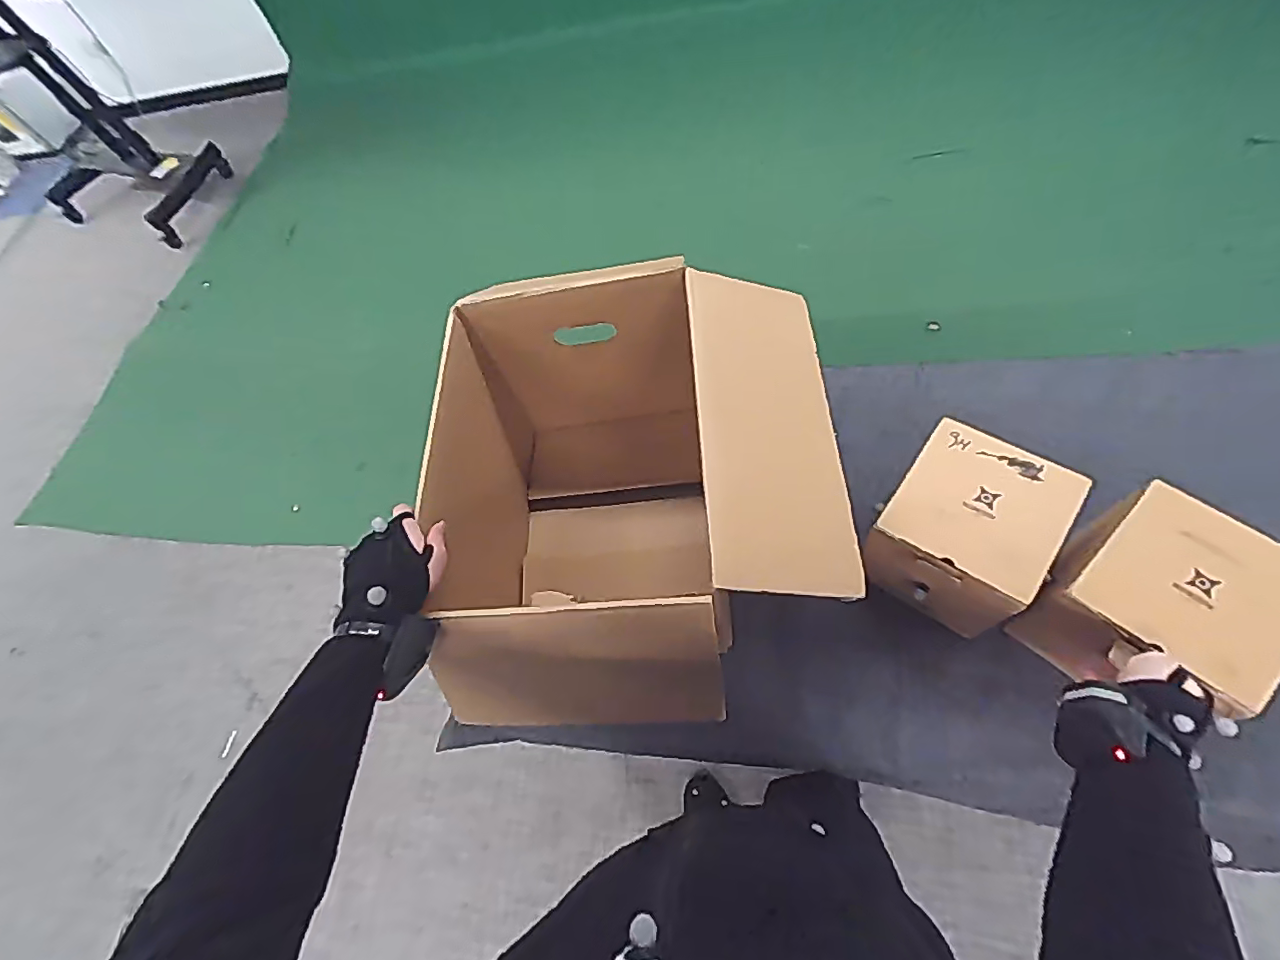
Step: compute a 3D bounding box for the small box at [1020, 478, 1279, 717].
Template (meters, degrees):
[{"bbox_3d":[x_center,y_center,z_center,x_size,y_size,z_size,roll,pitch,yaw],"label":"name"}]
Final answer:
[{"bbox_3d":[0.567,0.138,0.599,0.179,0.176,0.168,-45,63,-12],"label":"small box"}]
